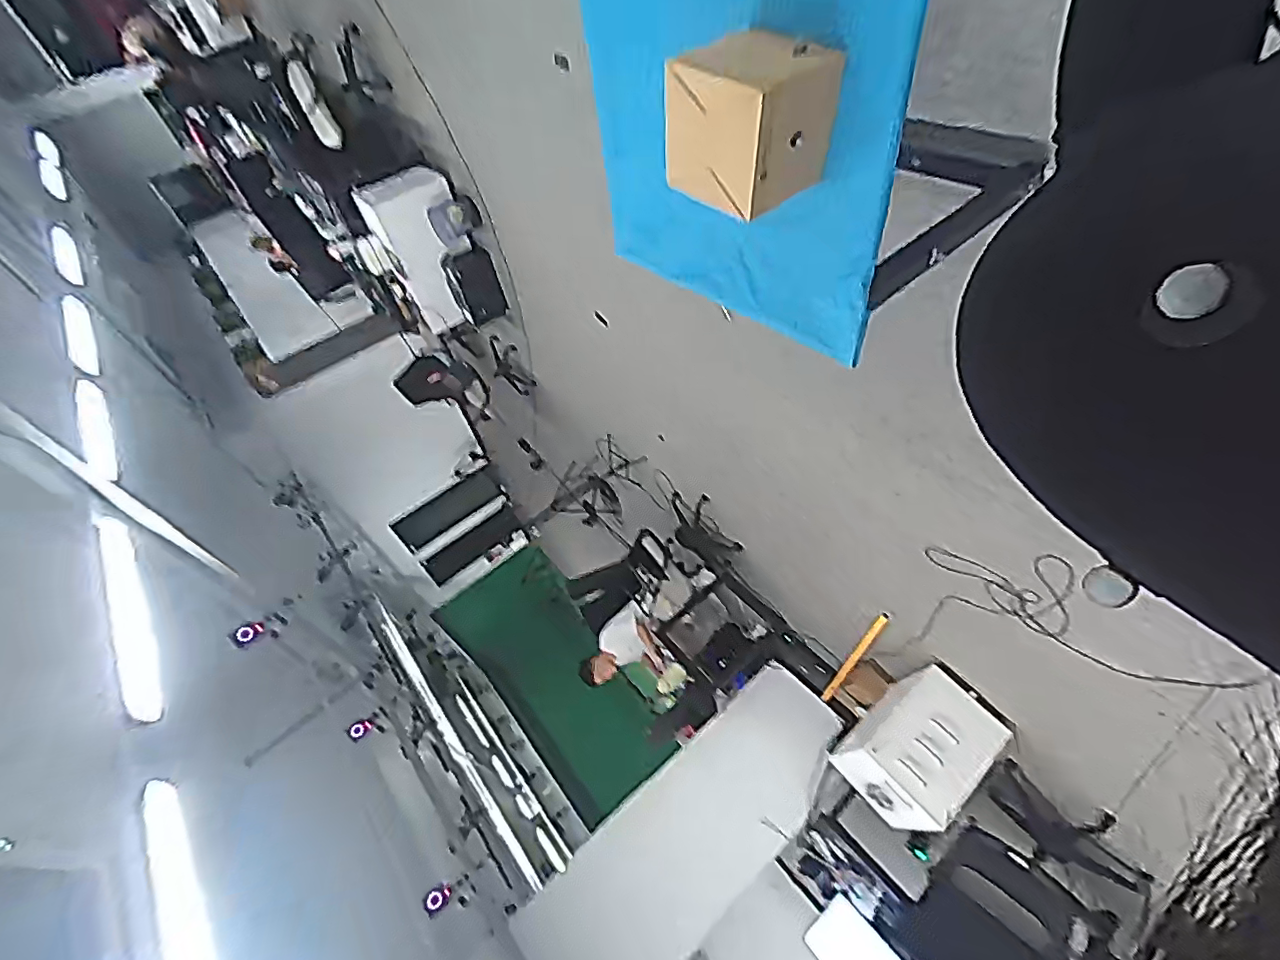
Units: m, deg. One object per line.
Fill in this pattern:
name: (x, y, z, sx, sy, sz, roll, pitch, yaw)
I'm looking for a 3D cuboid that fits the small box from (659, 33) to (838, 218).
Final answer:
small box: (0.149, -0.513, 0.786, 0.179, 0.176, 0.168, 41, 156, 28)
